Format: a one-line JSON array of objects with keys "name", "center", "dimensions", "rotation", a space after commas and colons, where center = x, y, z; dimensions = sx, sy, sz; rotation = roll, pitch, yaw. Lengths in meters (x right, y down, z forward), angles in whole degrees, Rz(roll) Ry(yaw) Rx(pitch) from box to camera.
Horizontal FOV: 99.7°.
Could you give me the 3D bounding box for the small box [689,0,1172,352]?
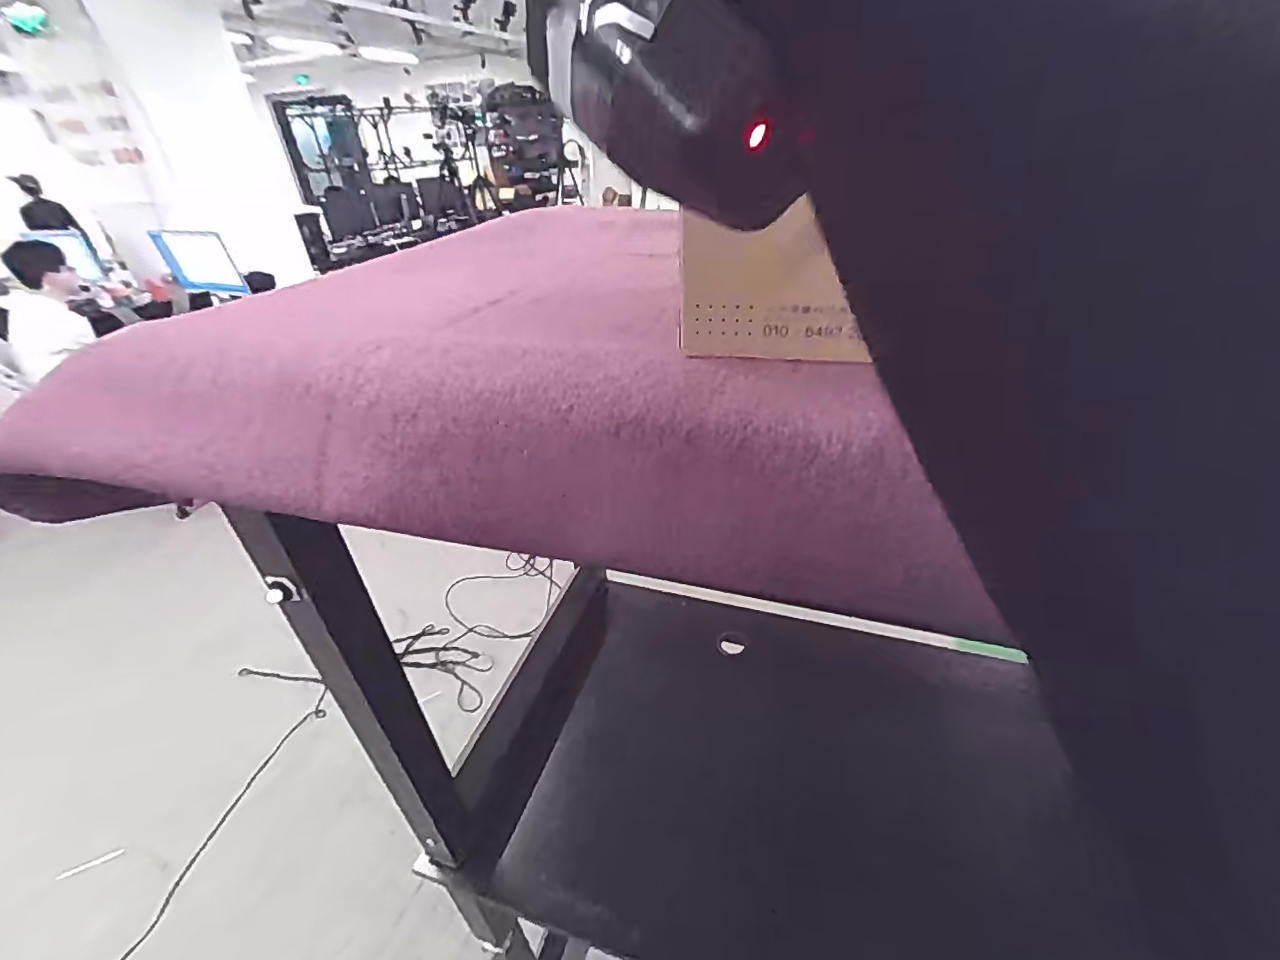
[{"name": "small box", "center": [0.122, -0.174, 0.279], "dimensions": [0.168, 0.176, 0.179], "rotation": [6, 34, 13]}]
